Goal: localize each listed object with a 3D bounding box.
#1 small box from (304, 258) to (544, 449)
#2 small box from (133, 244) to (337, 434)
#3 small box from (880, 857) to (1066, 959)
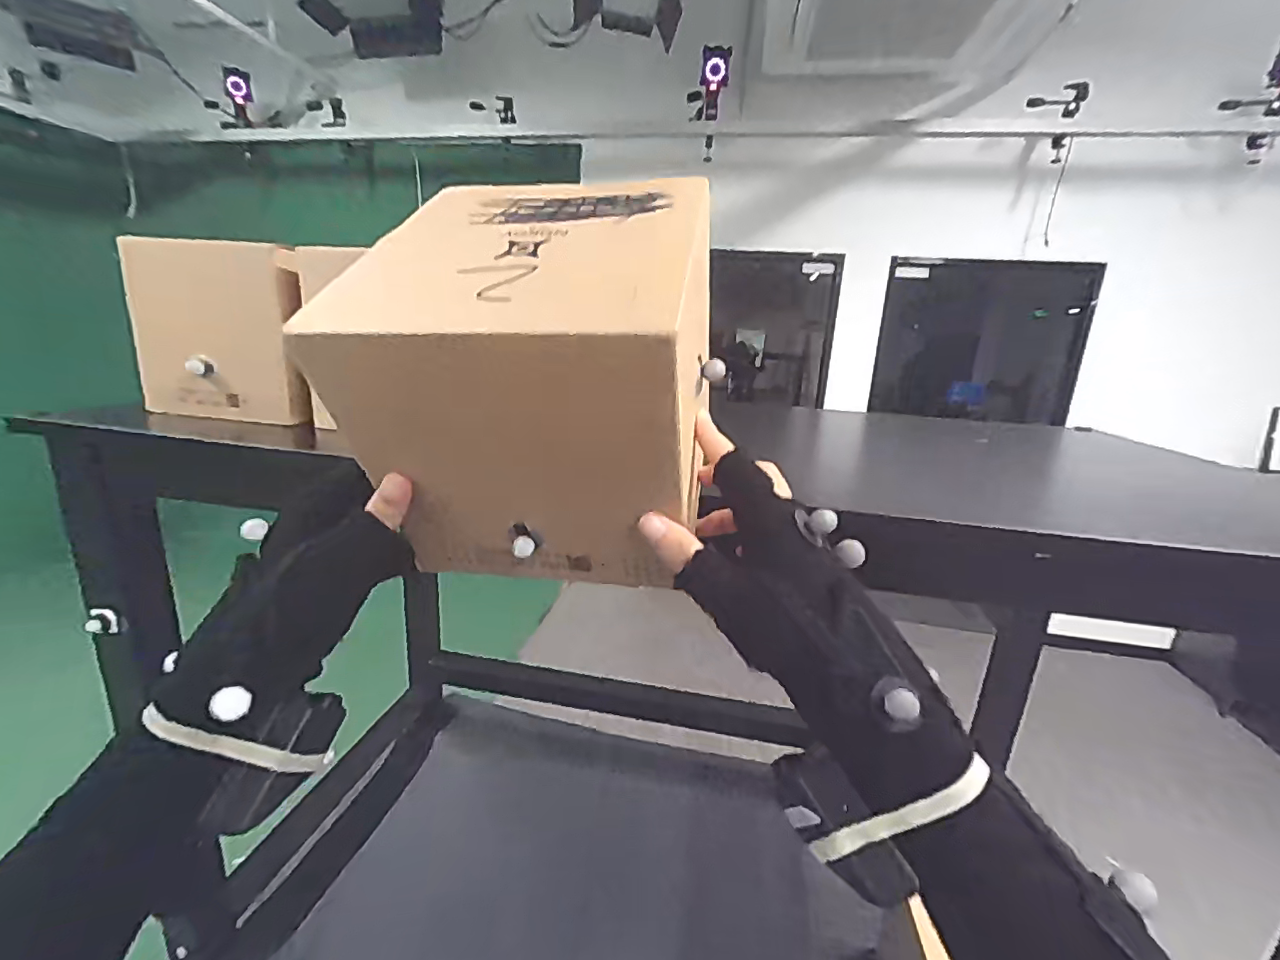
[{"bbox_3d":[-0.208,-0.132,0.568,0.168,0.176,0.179,7,15,14],"label":"small box"},{"bbox_3d":[-0.395,-0.154,0.600,0.168,0.176,0.179,6,16,8],"label":"small box"},{"bbox_3d":[0.415,0.628,0.674,0.168,0.176,0.179,6,14,8],"label":"small box"}]
